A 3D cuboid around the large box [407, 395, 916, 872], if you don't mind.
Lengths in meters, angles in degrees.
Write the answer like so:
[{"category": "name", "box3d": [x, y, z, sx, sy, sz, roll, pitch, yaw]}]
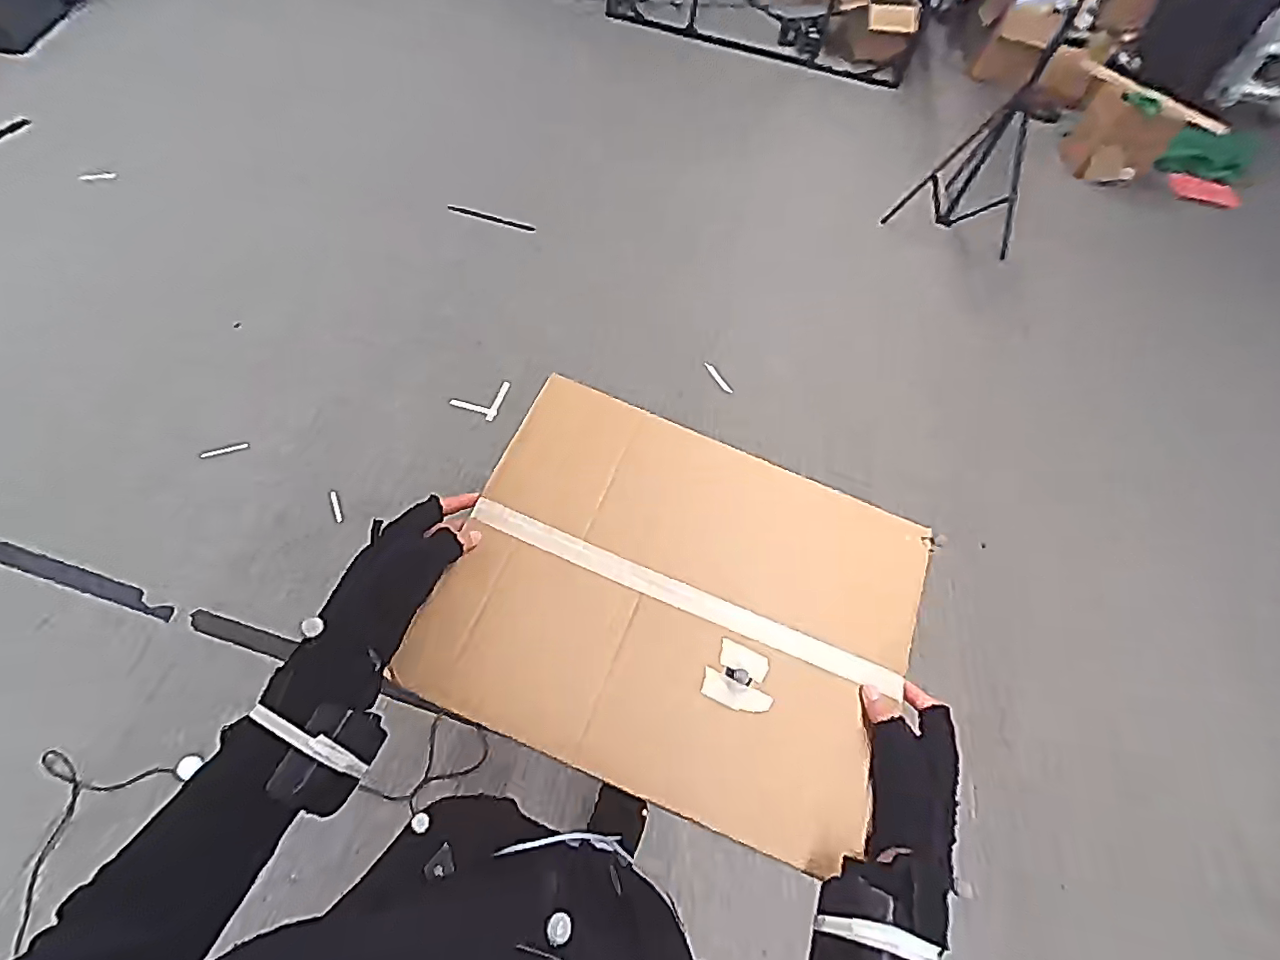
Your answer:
[{"category": "large box", "box3d": [0.024, 0.166, 0.631, 0.408, 0.320, 0.320, 23, 68, 2]}]
